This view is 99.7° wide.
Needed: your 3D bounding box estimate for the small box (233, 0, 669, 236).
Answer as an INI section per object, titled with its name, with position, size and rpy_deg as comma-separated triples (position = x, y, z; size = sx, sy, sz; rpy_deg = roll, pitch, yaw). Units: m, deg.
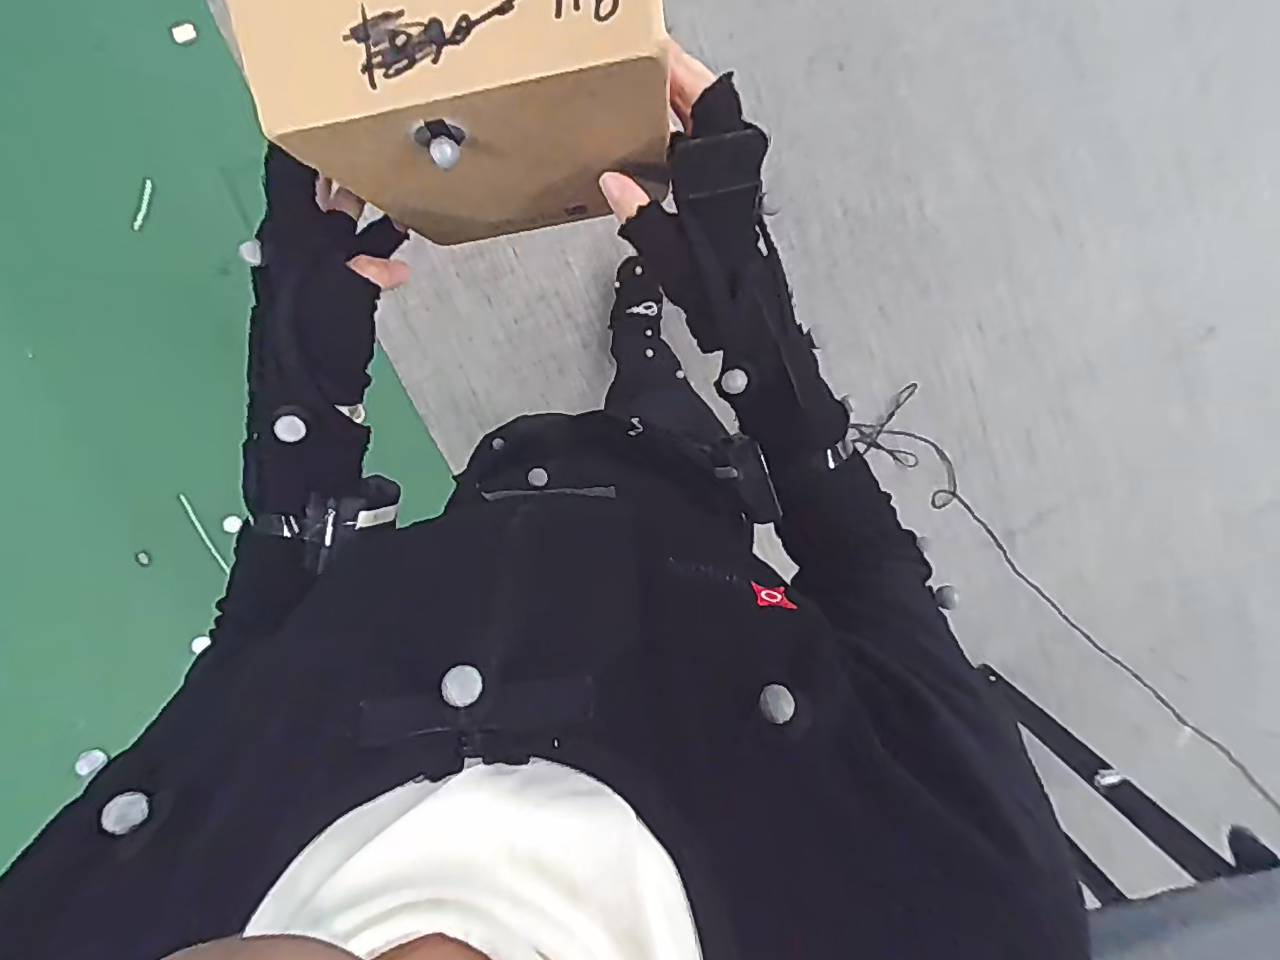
[small box]
position = -0.078, -0.251, 0.277
size = 0.168, 0.176, 0.179
rpy_deg = -9, 99, 6
